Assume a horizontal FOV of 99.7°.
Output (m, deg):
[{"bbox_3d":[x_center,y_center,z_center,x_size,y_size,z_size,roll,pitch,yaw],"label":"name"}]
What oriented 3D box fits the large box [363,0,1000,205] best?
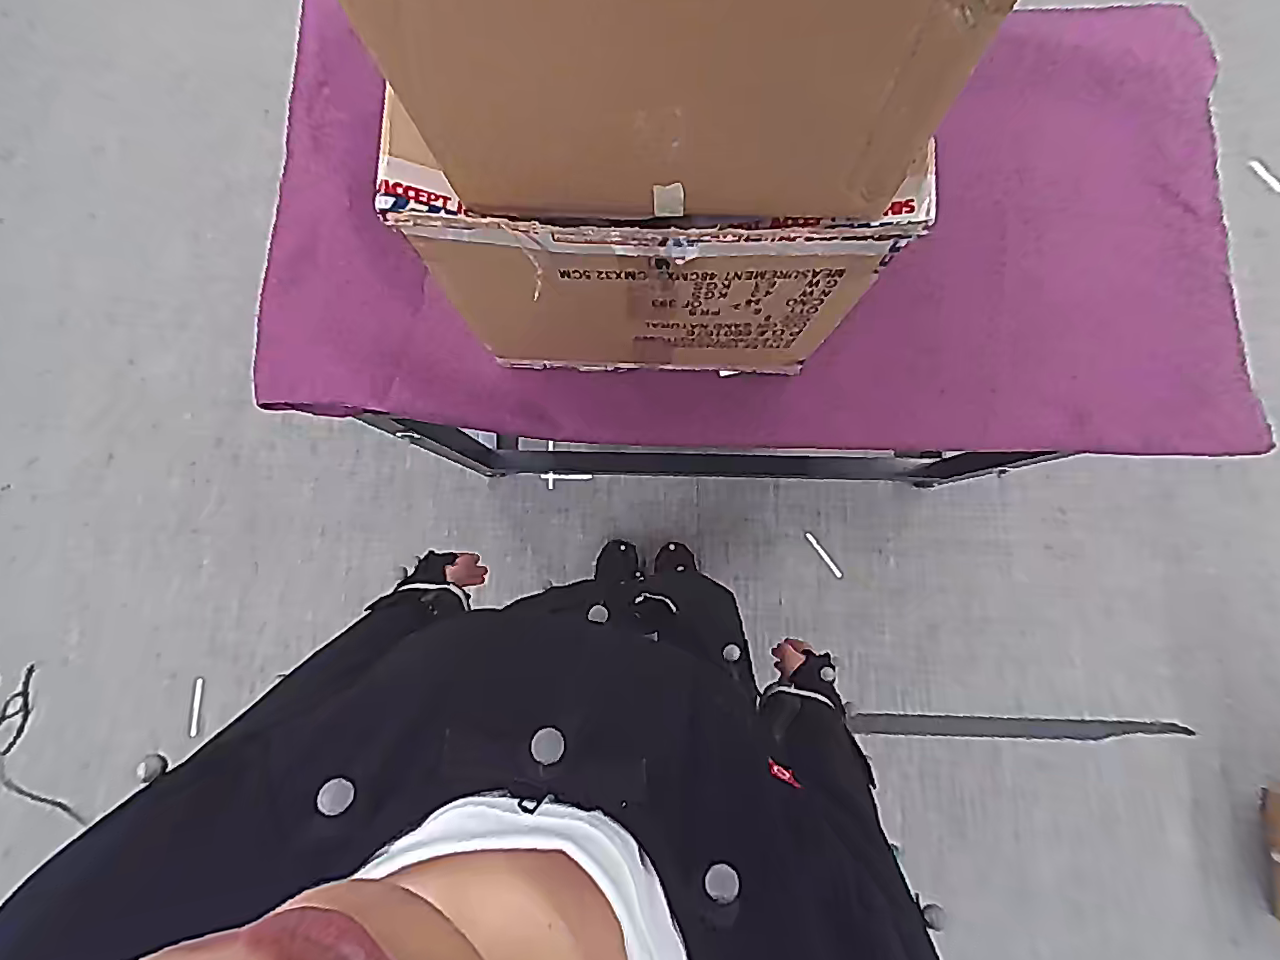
[{"bbox_3d":[0.022,-0.418,0.275,0.320,0.320,0.408,2,83,5],"label":"large box"}]
